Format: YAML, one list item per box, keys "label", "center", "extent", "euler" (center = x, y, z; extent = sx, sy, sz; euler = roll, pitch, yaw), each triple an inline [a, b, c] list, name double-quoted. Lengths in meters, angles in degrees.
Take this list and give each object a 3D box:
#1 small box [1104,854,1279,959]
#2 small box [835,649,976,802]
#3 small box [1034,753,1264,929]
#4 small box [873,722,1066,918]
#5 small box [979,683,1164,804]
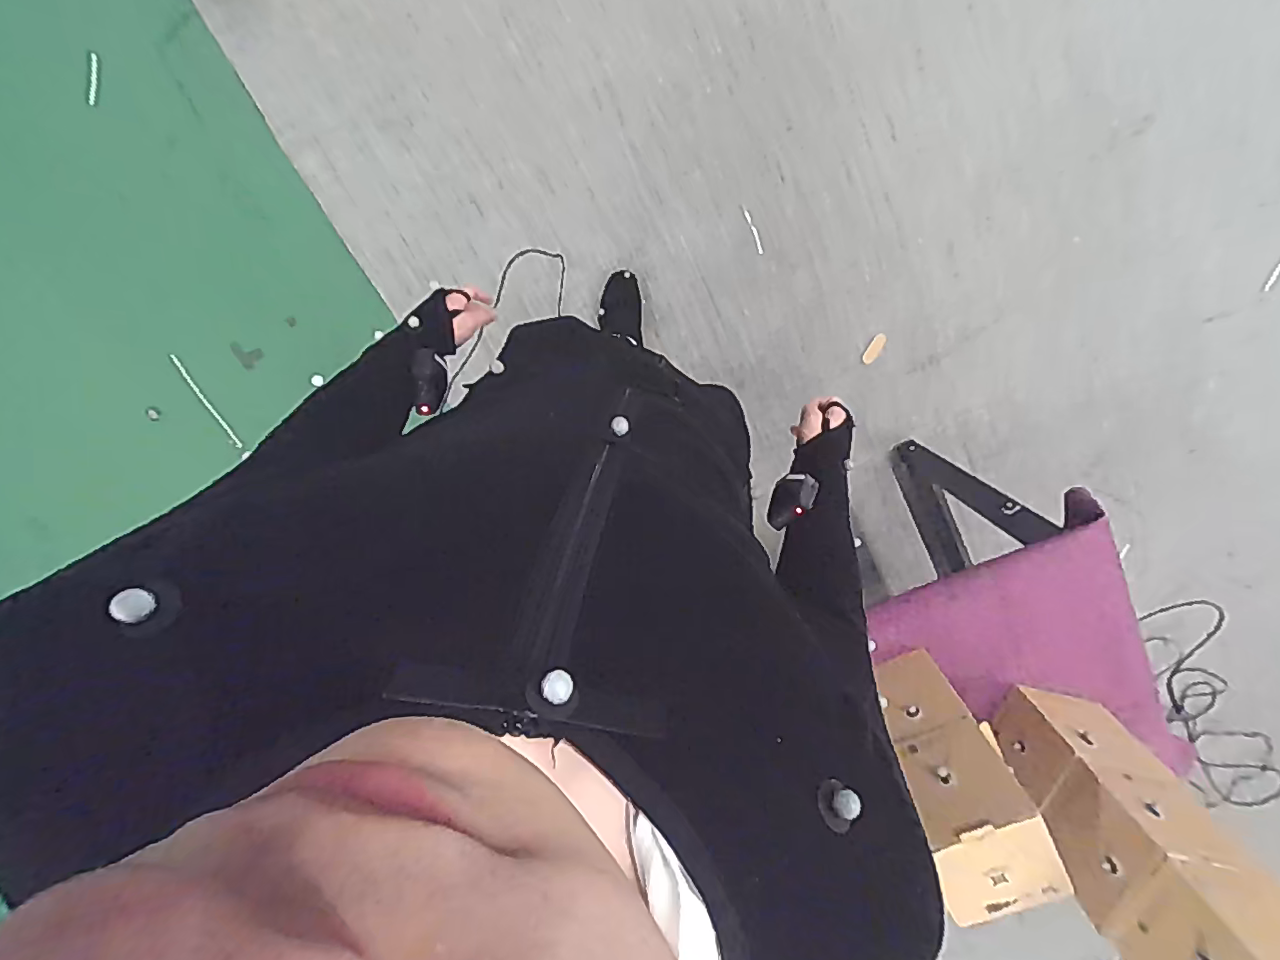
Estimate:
- label: "small box"
  center: [0.758, 0.614, 0.683]
  extent: [0.179, 0.176, 0.168]
  euler: [13, 109, -2]
- label: "small box"
  center: [0.481, 0.437, 0.968]
  extent: [0.179, 0.176, 0.168]
  euler: [-29, 108, 11]
- label: "small box"
  center: [0.757, 0.561, 0.836]
  extent: [0.168, 0.176, 0.179]
  euler: [14, 110, -2]
- label: "small box"
  center: [0.483, 0.498, 0.817]
  extent: [0.168, 0.176, 0.179]
  euler: [-27, 107, 11]
- label: "small box"
  center: [0.763, 0.500, 0.987]
  extent: [0.179, 0.176, 0.168]
  euler: [14, 110, -4]
